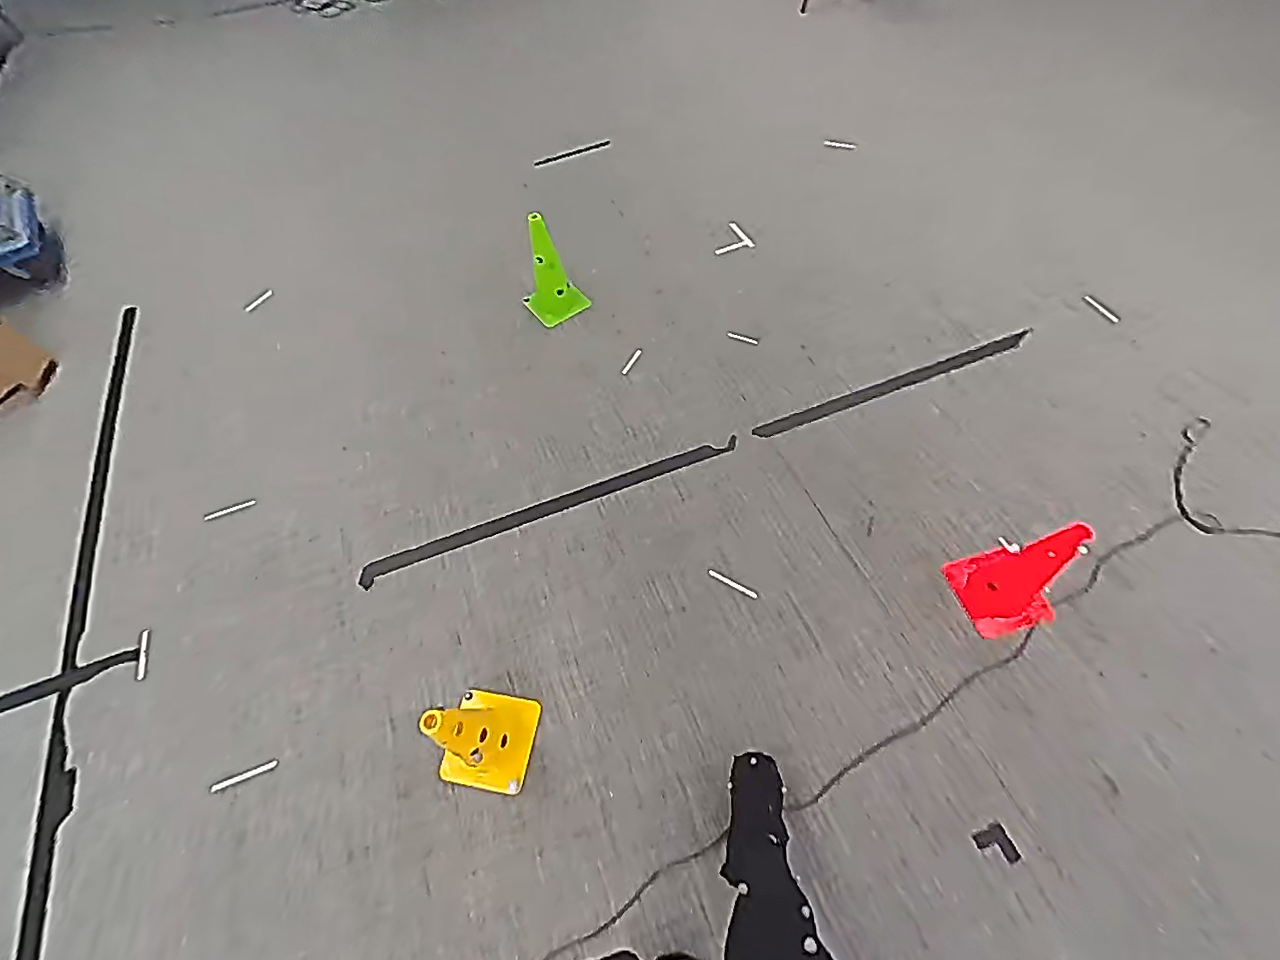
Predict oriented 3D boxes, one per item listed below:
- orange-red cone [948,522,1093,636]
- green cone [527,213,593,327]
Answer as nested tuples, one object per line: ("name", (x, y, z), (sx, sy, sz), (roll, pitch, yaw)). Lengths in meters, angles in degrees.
("orange-red cone", (0.892, 0.192, 1.216), (0.199, 0.360, 0.198), (-15, 58, -2))
("green cone", (-0.315, -0.763, 1.912), (0.202, 0.368, 0.200), (-34, 62, -16))
